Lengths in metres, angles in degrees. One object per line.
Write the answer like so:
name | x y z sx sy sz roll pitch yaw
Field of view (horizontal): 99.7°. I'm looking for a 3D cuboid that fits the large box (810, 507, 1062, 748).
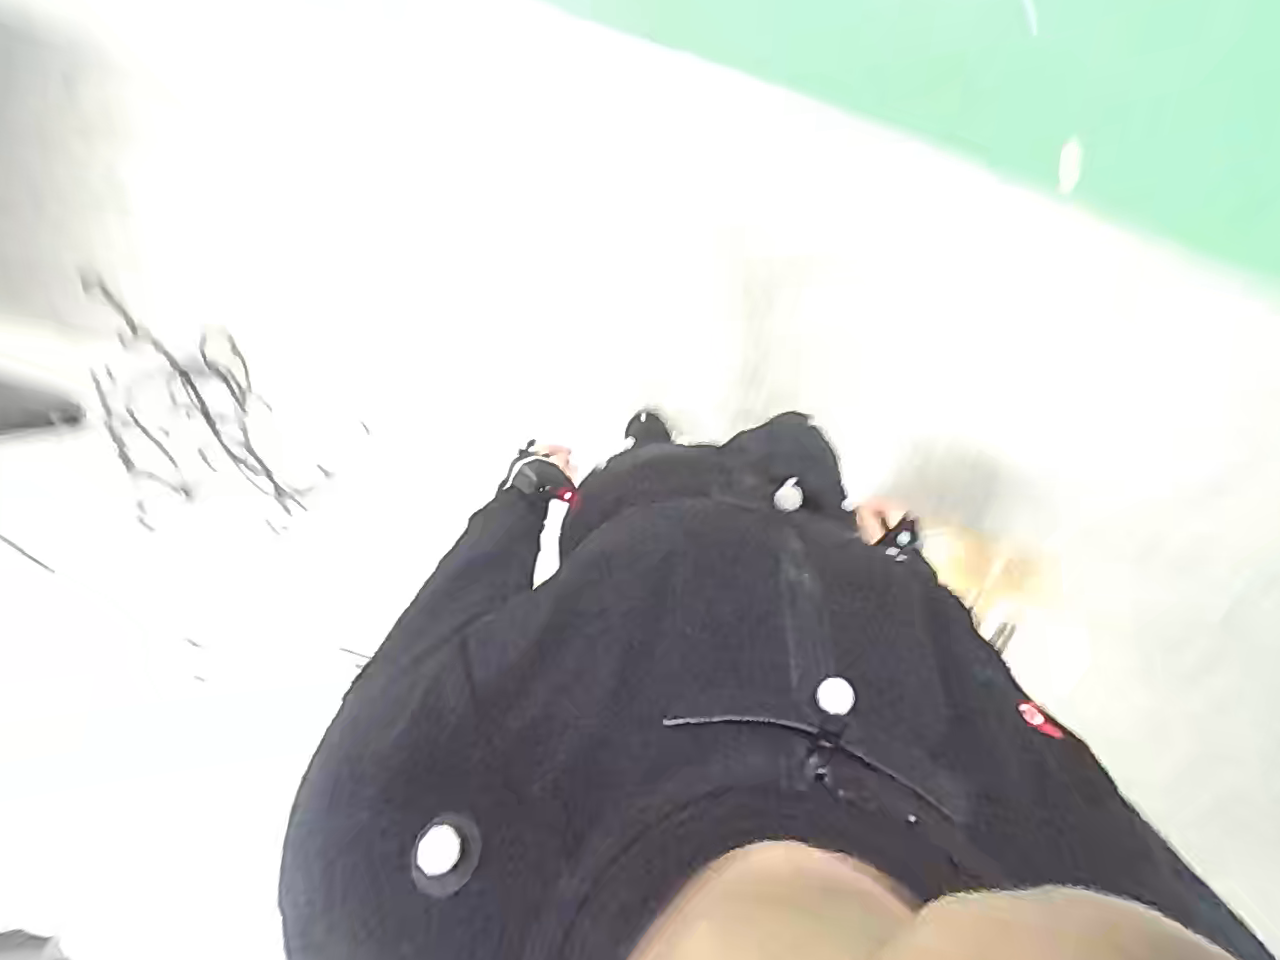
large box | 0.656 0.325 1.273 0.320 0.320 0.408 19 103 -3
